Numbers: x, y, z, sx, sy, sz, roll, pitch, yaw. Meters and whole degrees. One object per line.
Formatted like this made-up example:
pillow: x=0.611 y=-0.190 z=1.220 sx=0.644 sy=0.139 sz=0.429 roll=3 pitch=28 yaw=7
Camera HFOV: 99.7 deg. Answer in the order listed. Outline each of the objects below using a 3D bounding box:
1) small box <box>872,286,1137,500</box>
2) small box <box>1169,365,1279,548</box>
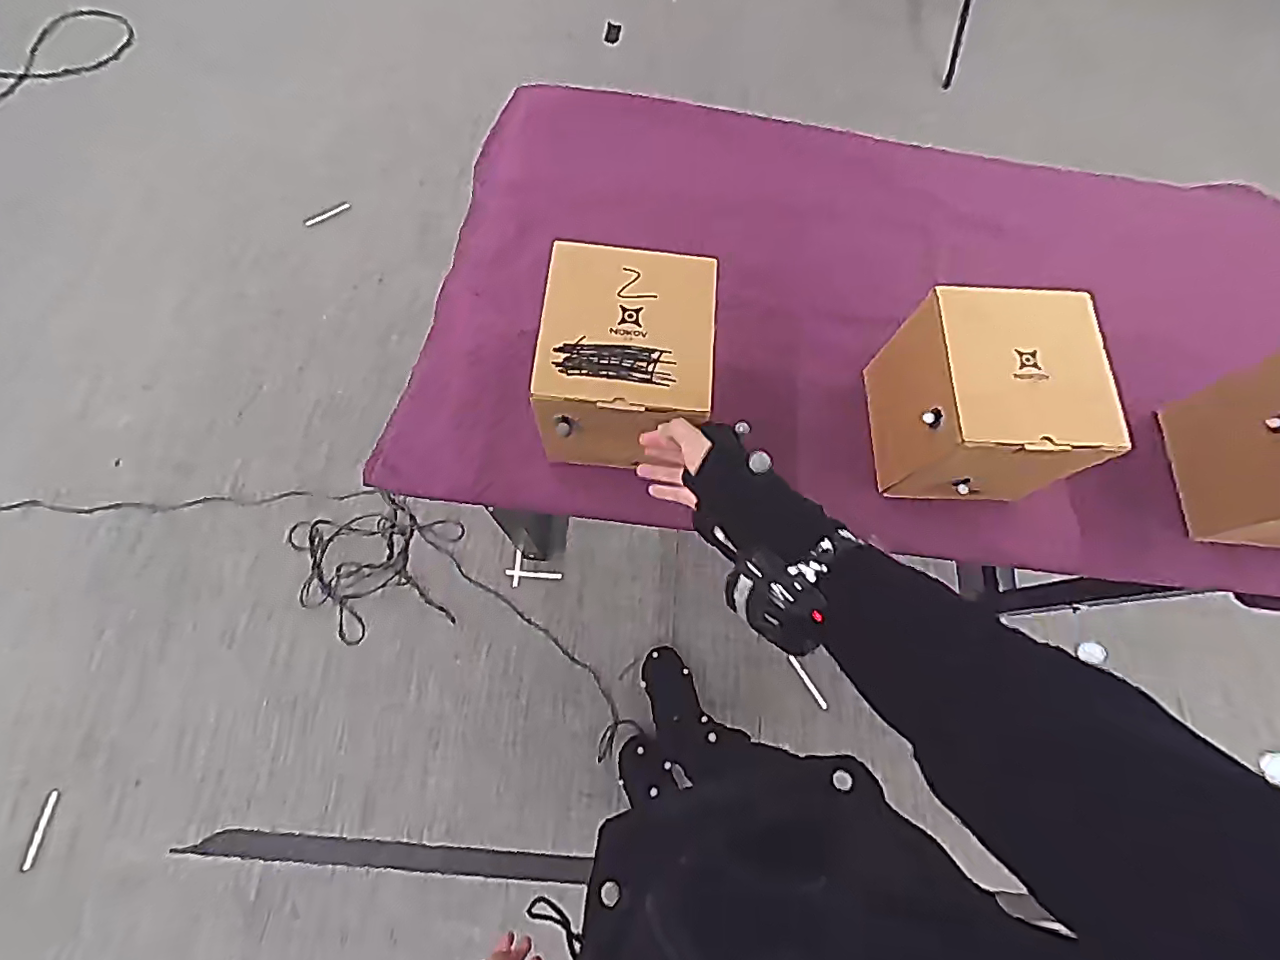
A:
small box: x=0.378 y=-0.086 z=0.600 sx=0.168 sy=0.176 sz=0.179 roll=1 pitch=72 yaw=-3
small box: x=0.756 y=-0.028 z=0.603 sx=0.168 sy=0.176 sz=0.179 roll=5 pitch=71 yaw=-1
